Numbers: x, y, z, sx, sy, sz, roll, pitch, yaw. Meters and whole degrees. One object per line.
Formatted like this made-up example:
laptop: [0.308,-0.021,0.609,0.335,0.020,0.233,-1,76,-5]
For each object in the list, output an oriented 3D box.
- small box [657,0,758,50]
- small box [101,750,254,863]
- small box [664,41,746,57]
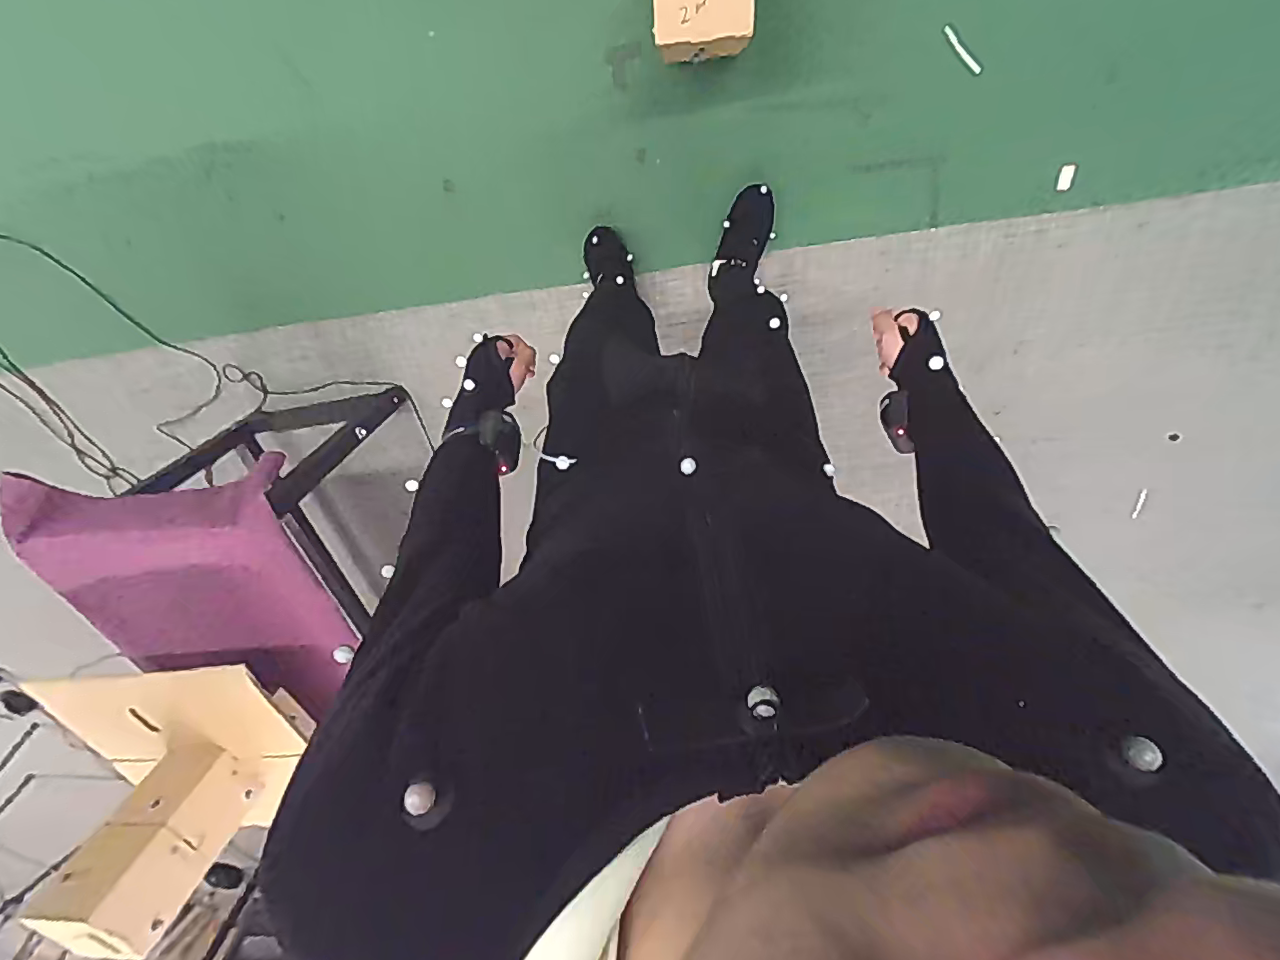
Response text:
small box: [0.113,-0.856,0.919,0.168,0.176,0.179,0,124,7]
small box: [-1.026,0.735,1.226,0.179,0.176,0.168,-8,120,12]
small box: [0.126,-0.951,1.053,0.168,0.176,0.179,-2,124,8]
